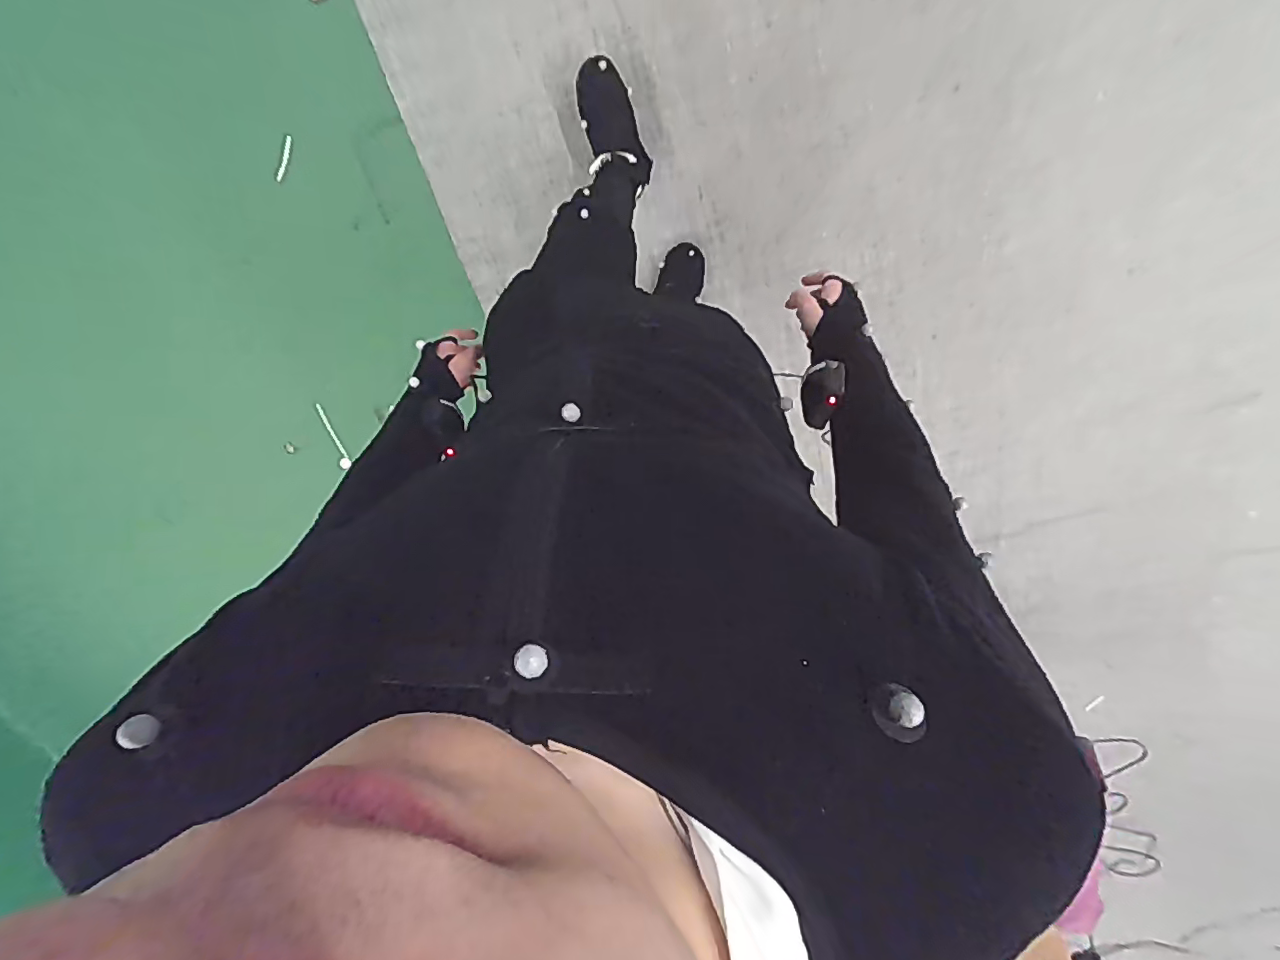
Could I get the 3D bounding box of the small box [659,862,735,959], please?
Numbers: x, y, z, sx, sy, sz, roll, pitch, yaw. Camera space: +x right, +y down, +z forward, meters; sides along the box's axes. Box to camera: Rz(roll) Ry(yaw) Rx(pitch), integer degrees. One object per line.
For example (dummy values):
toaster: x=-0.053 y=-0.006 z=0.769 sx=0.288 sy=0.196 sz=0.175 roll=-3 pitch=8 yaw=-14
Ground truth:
small box: x=0.151 y=1.136 z=1.413 sx=0.168 sy=0.176 sz=0.179 roll=-12 pitch=118 yaw=10
